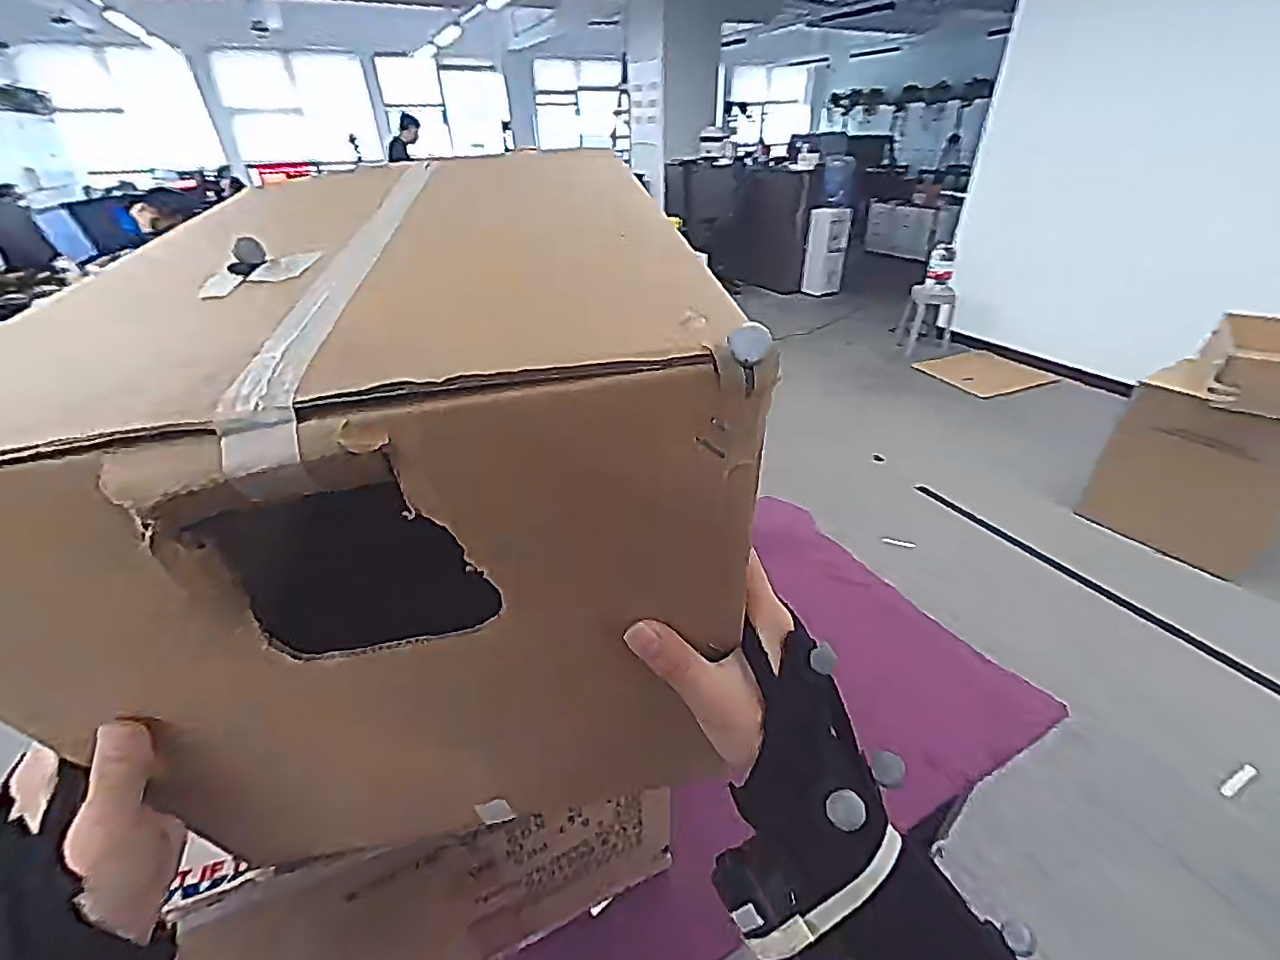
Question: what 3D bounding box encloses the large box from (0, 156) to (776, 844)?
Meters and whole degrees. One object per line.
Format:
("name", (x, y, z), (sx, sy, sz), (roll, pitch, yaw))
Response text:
("large box", (-0.129, -0.024, 0.413), (0.320, 0.320, 0.408), (-10, 41, -4))
